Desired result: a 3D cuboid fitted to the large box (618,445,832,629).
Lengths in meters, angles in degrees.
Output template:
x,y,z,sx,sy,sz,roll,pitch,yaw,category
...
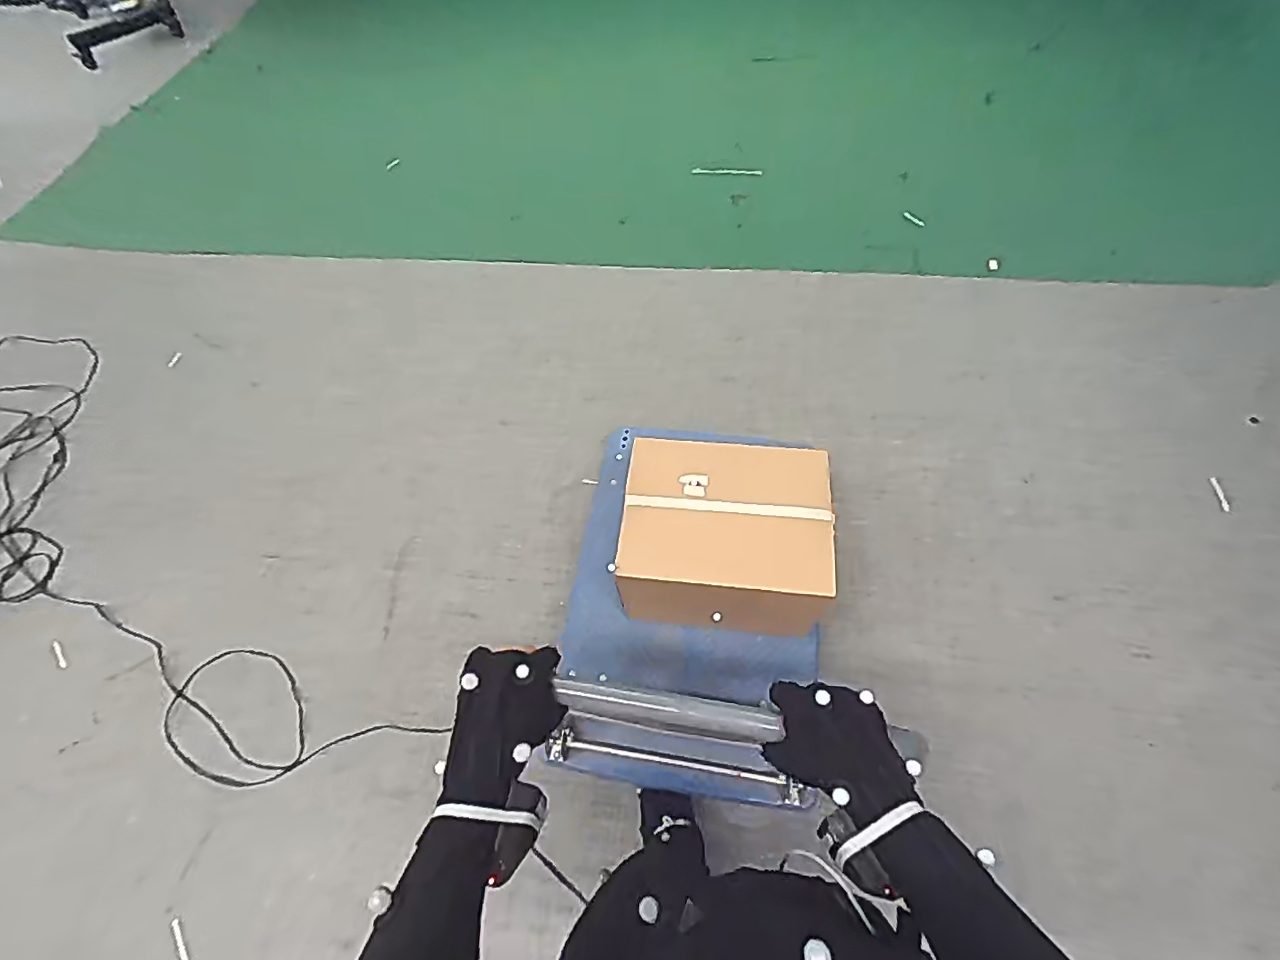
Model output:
x,y,z,sx,sy,sz,roll,pitch,yaw,category
0.182,0.137,1.206,0.408,0.320,0.320,3,61,7,large box
